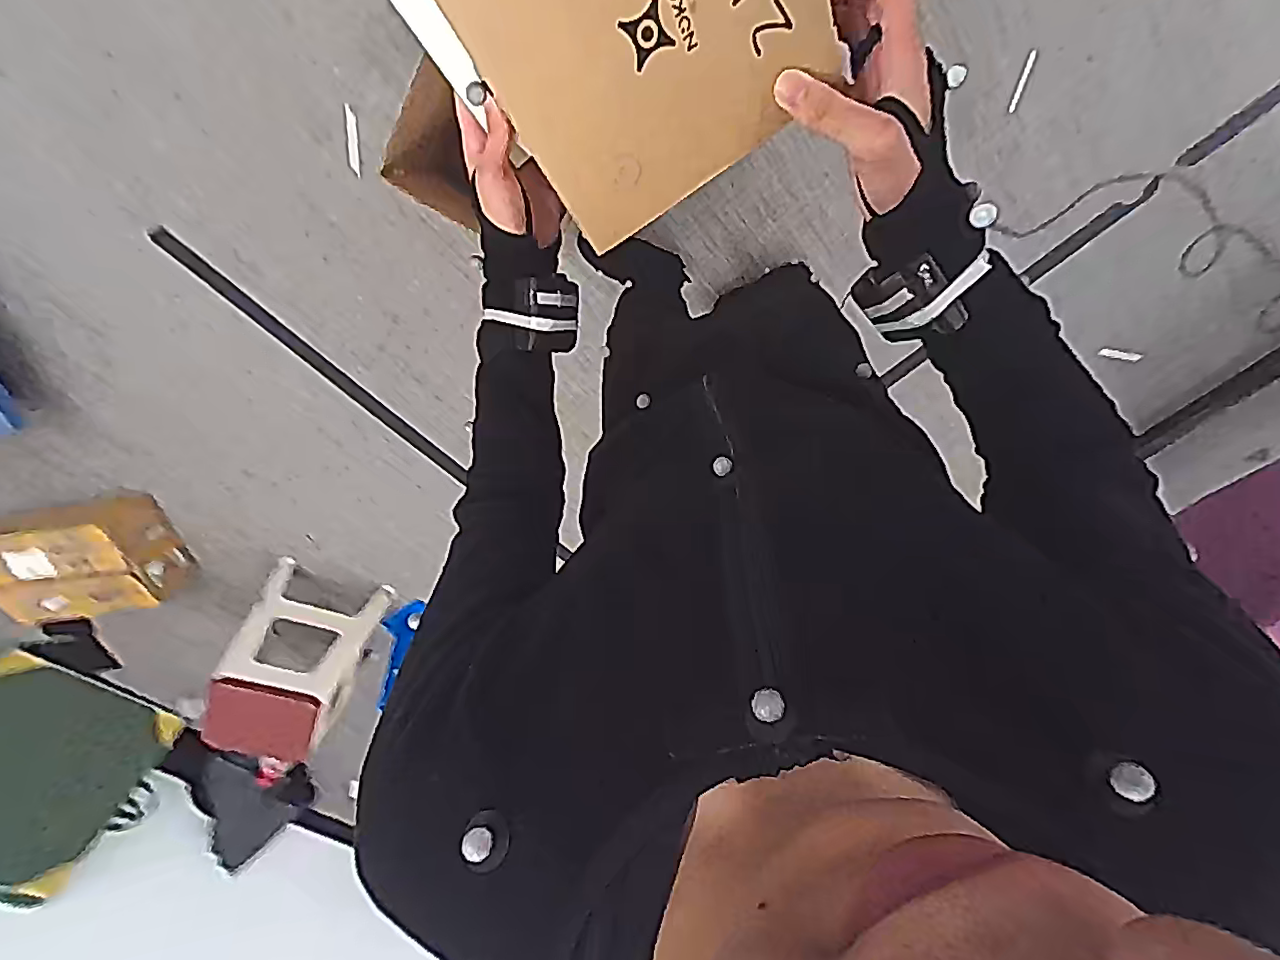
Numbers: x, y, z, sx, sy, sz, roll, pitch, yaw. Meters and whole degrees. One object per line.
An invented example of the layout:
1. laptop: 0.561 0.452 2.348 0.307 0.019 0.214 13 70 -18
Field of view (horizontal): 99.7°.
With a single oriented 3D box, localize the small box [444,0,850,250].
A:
1. small box: -0.012 -0.279 0.312 0.179 0.176 0.168 -32 141 7
